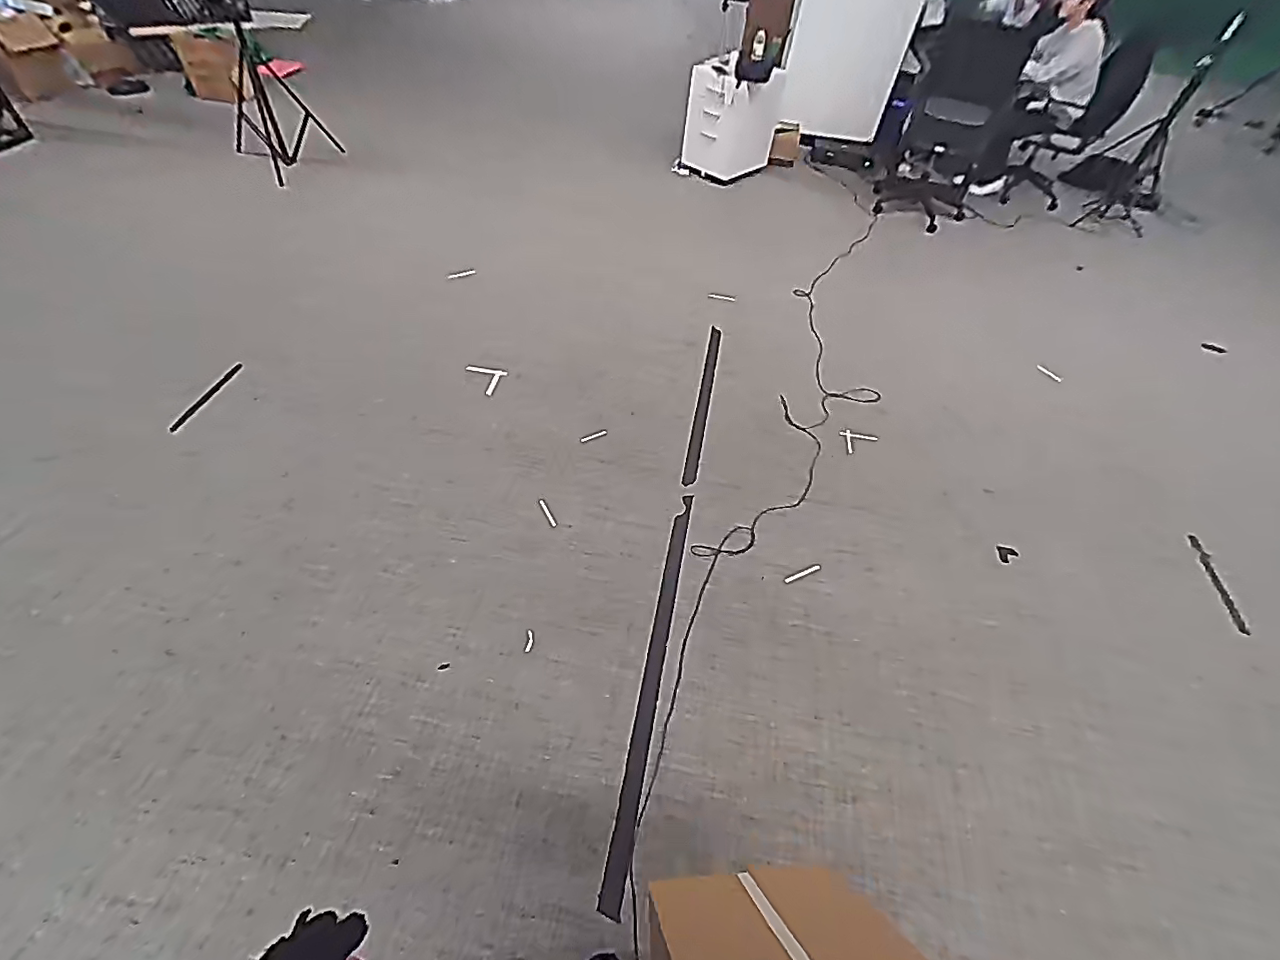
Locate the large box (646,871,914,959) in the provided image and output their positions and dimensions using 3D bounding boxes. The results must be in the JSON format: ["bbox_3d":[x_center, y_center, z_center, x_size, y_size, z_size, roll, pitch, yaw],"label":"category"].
[{"bbox_3d":[0.192,0.756,0.663,0.320,0.408,0.320,0,77,-8],"label":"large box"}]
